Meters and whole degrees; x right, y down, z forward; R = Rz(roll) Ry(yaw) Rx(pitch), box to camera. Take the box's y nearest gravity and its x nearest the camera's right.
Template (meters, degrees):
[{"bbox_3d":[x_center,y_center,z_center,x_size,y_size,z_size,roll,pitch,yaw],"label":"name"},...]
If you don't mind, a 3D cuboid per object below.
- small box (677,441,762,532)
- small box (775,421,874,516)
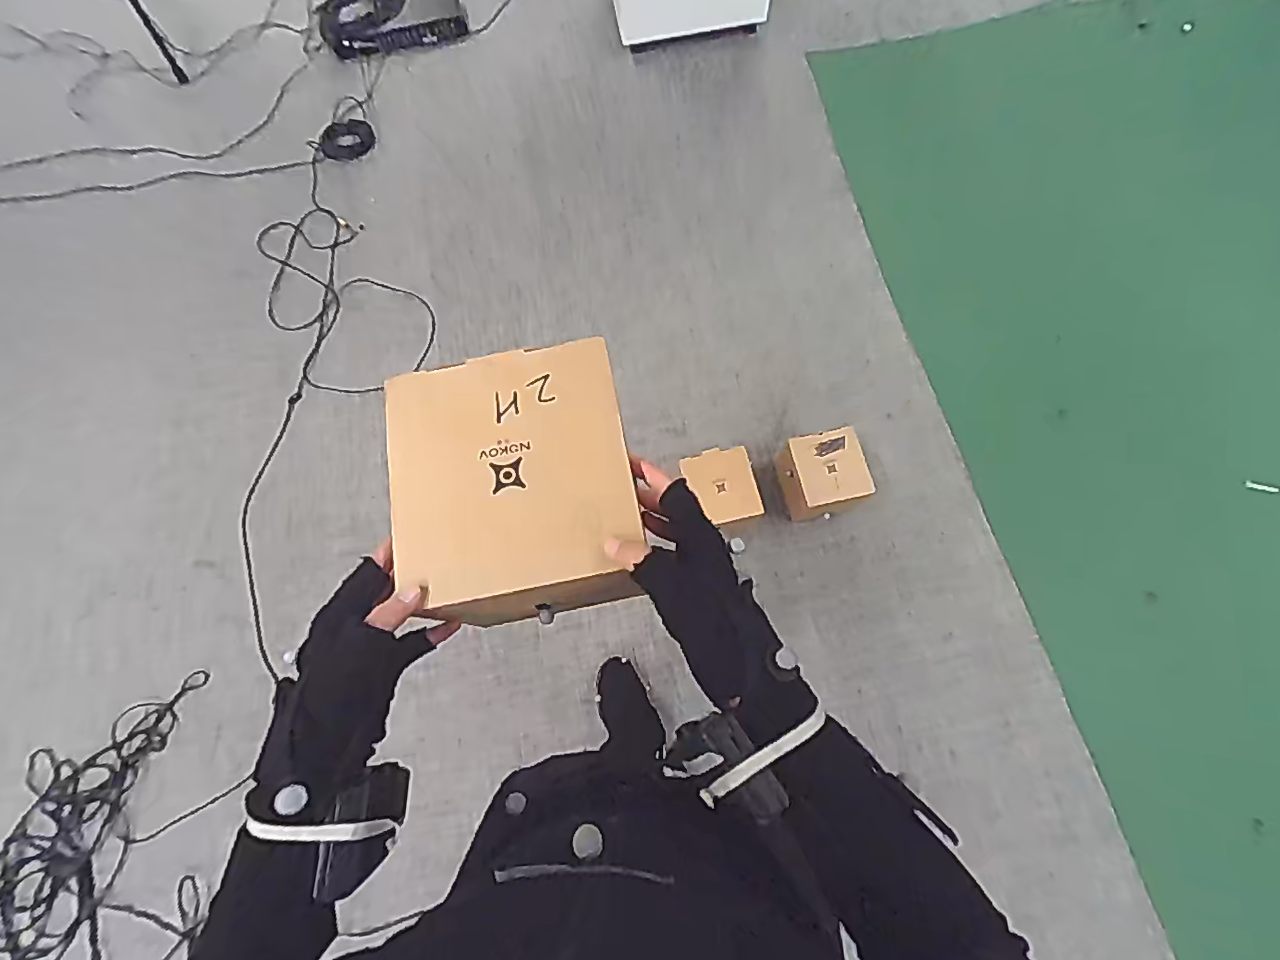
[{"bbox_3d":[0.190,0.025,1.345,0.168,0.176,0.179,-13,73,-2],"label":"small box"},{"bbox_3d":[0.449,-0.023,1.349,0.168,0.176,0.179,-12,74,-2],"label":"small box"}]
